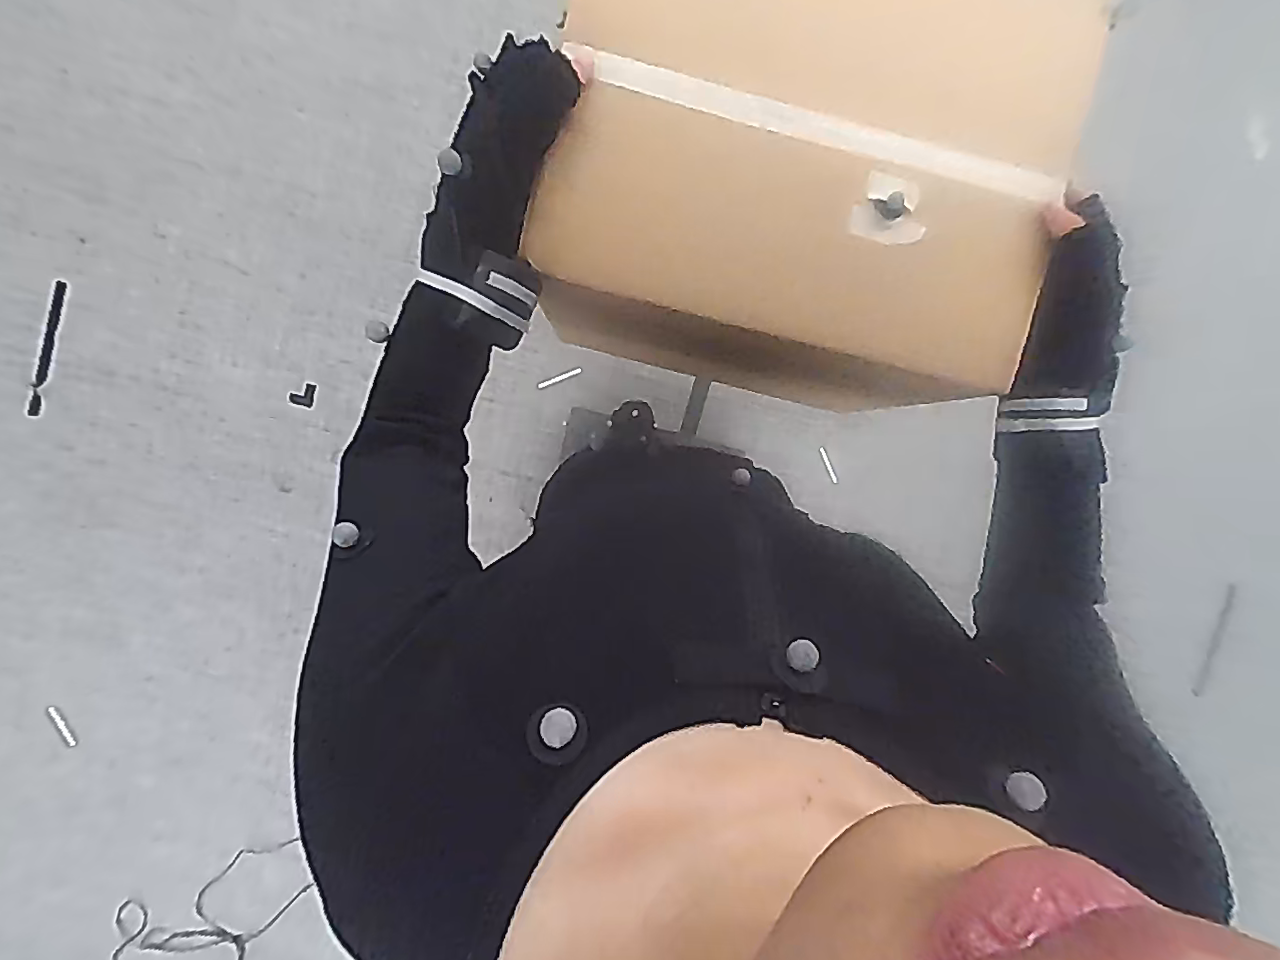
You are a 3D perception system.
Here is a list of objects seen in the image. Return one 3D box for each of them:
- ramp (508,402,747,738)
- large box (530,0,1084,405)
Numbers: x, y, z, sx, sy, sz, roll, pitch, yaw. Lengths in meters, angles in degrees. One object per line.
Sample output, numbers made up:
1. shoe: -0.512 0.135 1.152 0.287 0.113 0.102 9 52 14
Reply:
1. ramp: -0.059 0.309 1.593 0.509 0.206 0.991 13 95 -4
2. large box: 0.126 -0.283 0.579 0.408 0.320 0.320 13 93 -4
